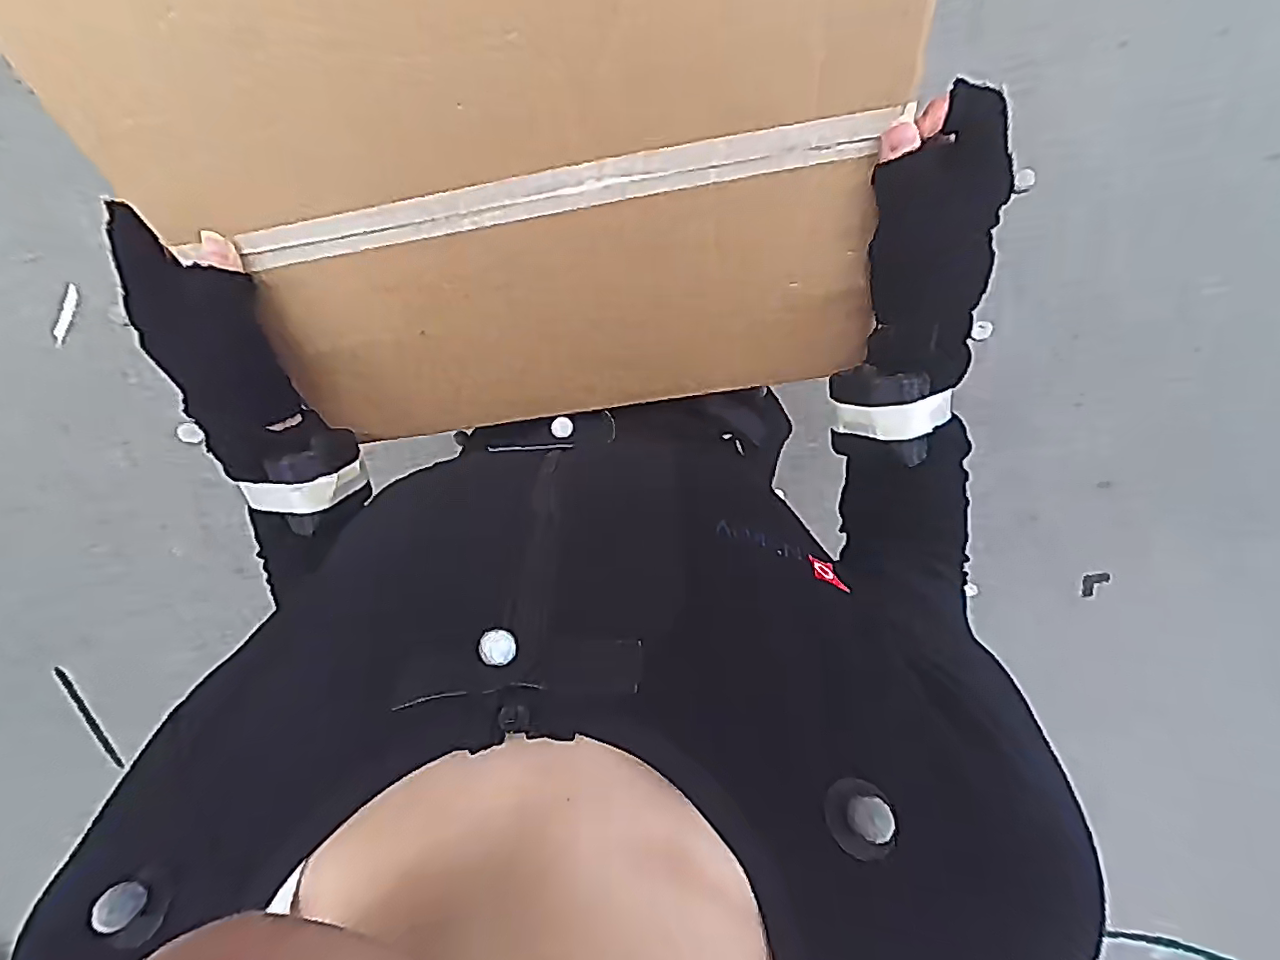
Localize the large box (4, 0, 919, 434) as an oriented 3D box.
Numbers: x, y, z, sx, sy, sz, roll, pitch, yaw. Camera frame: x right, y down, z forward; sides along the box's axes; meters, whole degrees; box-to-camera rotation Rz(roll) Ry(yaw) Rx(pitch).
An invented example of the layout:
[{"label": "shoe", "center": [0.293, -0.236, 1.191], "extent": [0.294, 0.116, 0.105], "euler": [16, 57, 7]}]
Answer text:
[{"label": "large box", "center": [-0.068, -0.273, 0.398], "extent": [0.408, 0.320, 0.320], "euler": [-8, 140, 6]}]
